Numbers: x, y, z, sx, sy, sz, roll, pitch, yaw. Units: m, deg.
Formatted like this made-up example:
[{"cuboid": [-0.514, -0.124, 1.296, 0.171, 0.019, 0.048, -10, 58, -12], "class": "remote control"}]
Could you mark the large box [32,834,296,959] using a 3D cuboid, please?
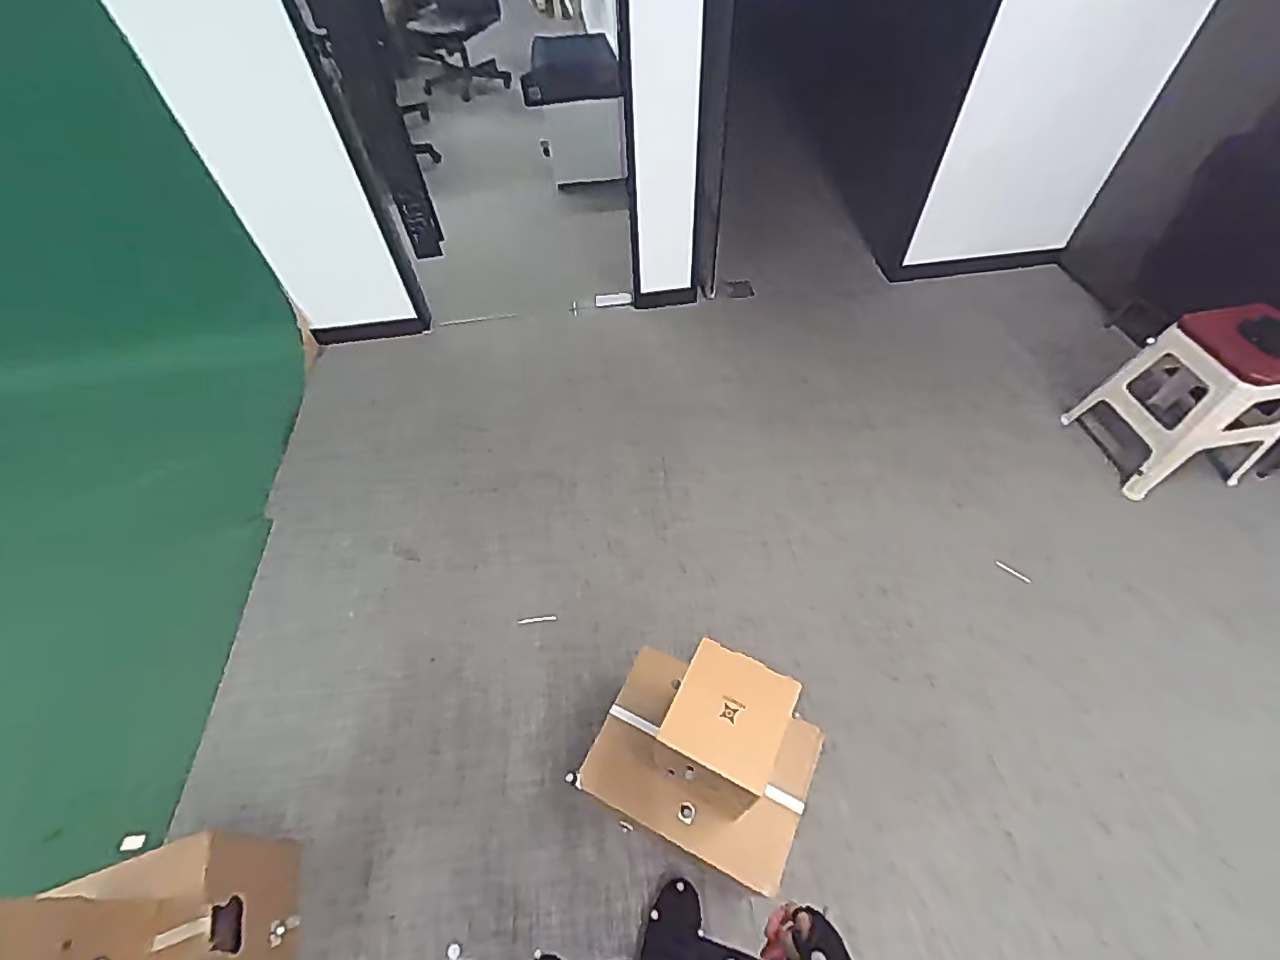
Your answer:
[{"cuboid": [-0.926, 0.922, 1.003, 0.408, 0.320, 0.320, -19, 52, -10], "class": "large box"}]

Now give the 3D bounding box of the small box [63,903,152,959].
[{"cuboid": [-0.890, 0.769, 0.811, 0.168, 0.176, 0.179, -17, 53, -11], "class": "small box"}]

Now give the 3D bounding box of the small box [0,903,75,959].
[{"cuboid": [-0.893, 0.666, 0.684, 0.179, 0.176, 0.168, -18, 54, -12], "class": "small box"}]

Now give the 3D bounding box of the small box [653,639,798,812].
[{"cuboid": [0.133, 0.391, 0.856, 0.168, 0.176, 0.179, 21, 54, 18], "class": "small box"}]
